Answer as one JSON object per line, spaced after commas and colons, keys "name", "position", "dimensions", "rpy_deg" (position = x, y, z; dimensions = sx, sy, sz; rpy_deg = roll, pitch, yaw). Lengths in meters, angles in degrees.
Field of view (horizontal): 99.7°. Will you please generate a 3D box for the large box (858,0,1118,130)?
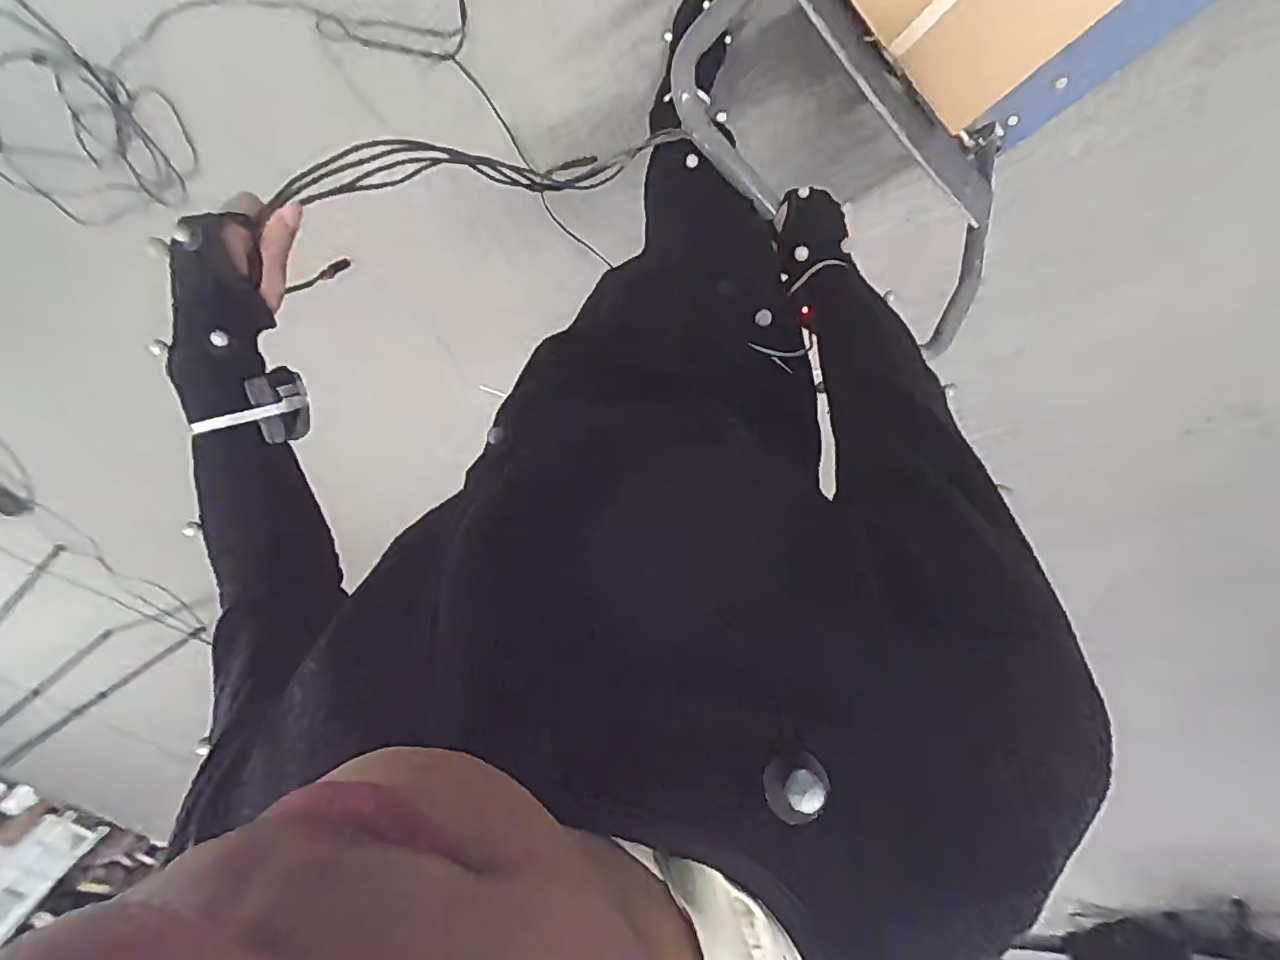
{"name": "large box", "position": [0.532, -0.788, 0.713], "dimensions": [0.320, 0.320, 0.408], "rpy_deg": [40, 142, -17]}
